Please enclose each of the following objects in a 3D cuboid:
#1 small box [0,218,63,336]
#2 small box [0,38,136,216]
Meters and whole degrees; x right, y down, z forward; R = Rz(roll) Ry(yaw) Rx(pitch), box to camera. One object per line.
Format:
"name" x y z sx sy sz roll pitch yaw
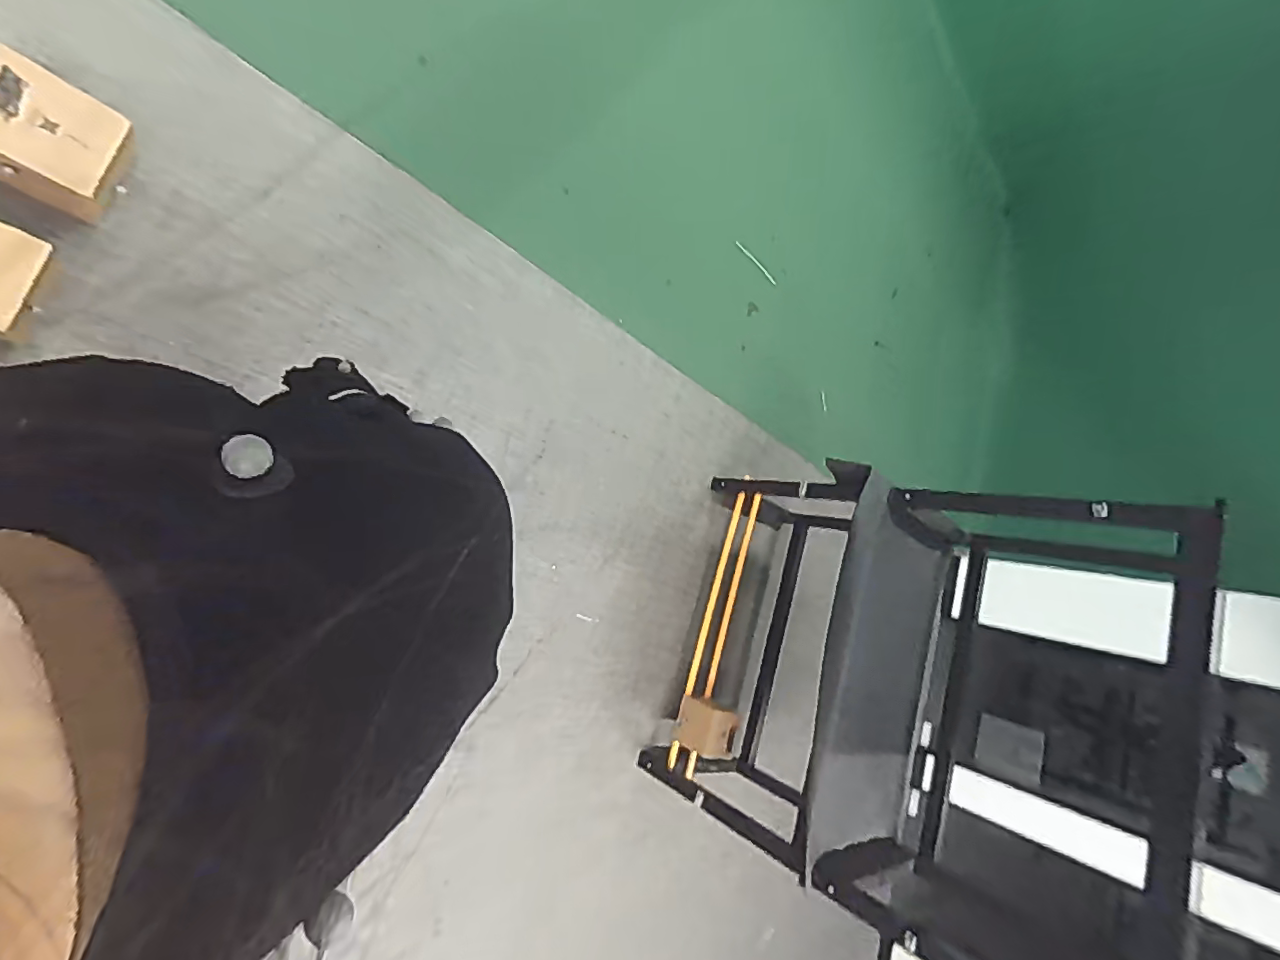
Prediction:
"small box" -1.111 -0.354 0.893 0.179 0.176 0.168 25 76 -40
"small box" -1.032 -0.600 0.947 0.179 0.176 0.168 26 76 -41
